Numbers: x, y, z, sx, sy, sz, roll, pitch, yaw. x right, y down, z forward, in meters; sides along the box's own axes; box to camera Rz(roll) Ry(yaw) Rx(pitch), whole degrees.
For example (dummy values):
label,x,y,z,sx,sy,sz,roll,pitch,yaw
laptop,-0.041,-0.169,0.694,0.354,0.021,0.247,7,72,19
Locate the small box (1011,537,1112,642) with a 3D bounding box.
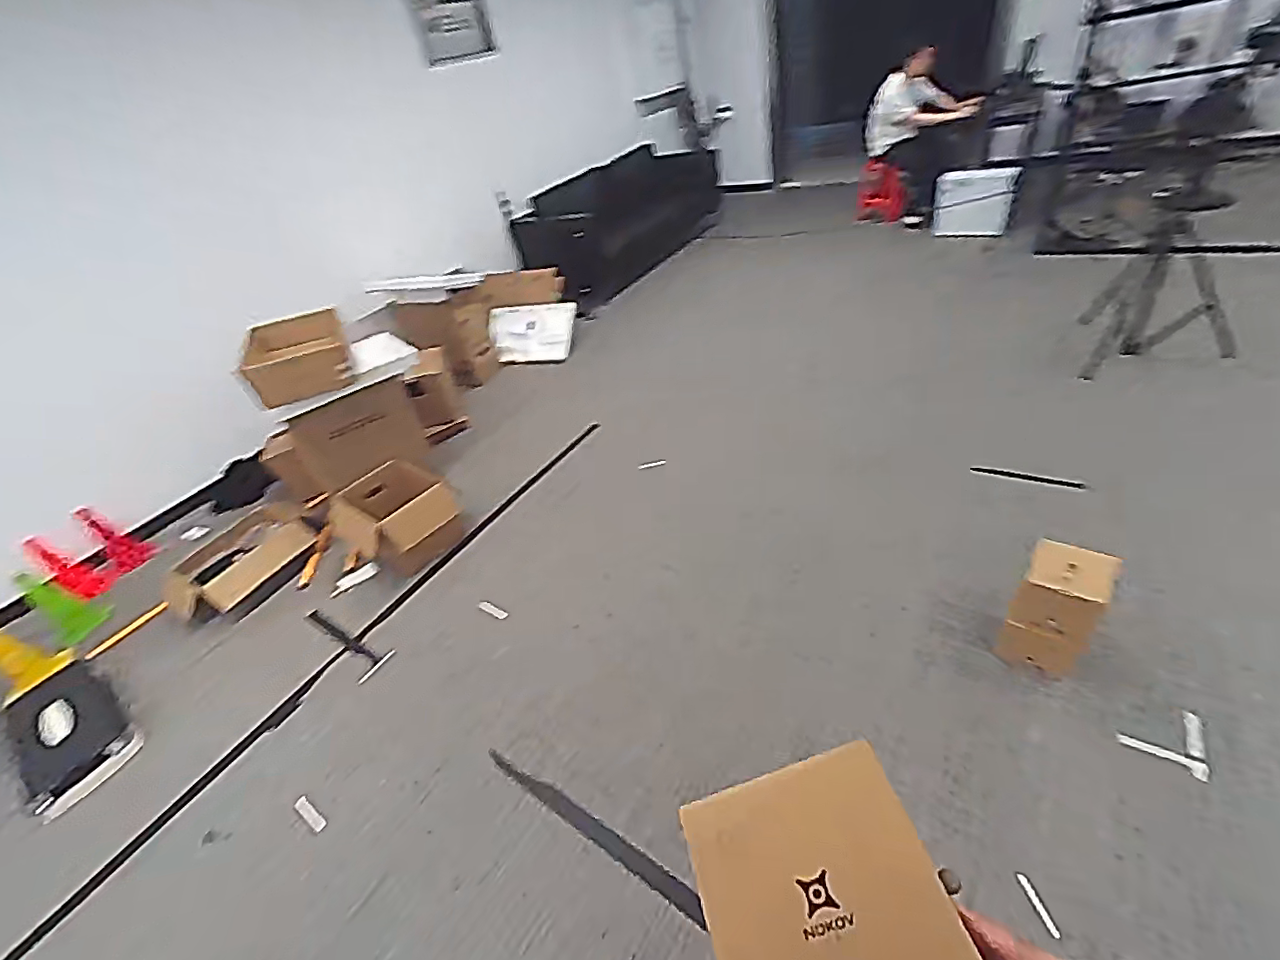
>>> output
label,x,y,z,sx,sy,sz,roll,pitch,yaw
small box,1.097,0.285,1.416,0.168,0.176,0.179,18,48,37
